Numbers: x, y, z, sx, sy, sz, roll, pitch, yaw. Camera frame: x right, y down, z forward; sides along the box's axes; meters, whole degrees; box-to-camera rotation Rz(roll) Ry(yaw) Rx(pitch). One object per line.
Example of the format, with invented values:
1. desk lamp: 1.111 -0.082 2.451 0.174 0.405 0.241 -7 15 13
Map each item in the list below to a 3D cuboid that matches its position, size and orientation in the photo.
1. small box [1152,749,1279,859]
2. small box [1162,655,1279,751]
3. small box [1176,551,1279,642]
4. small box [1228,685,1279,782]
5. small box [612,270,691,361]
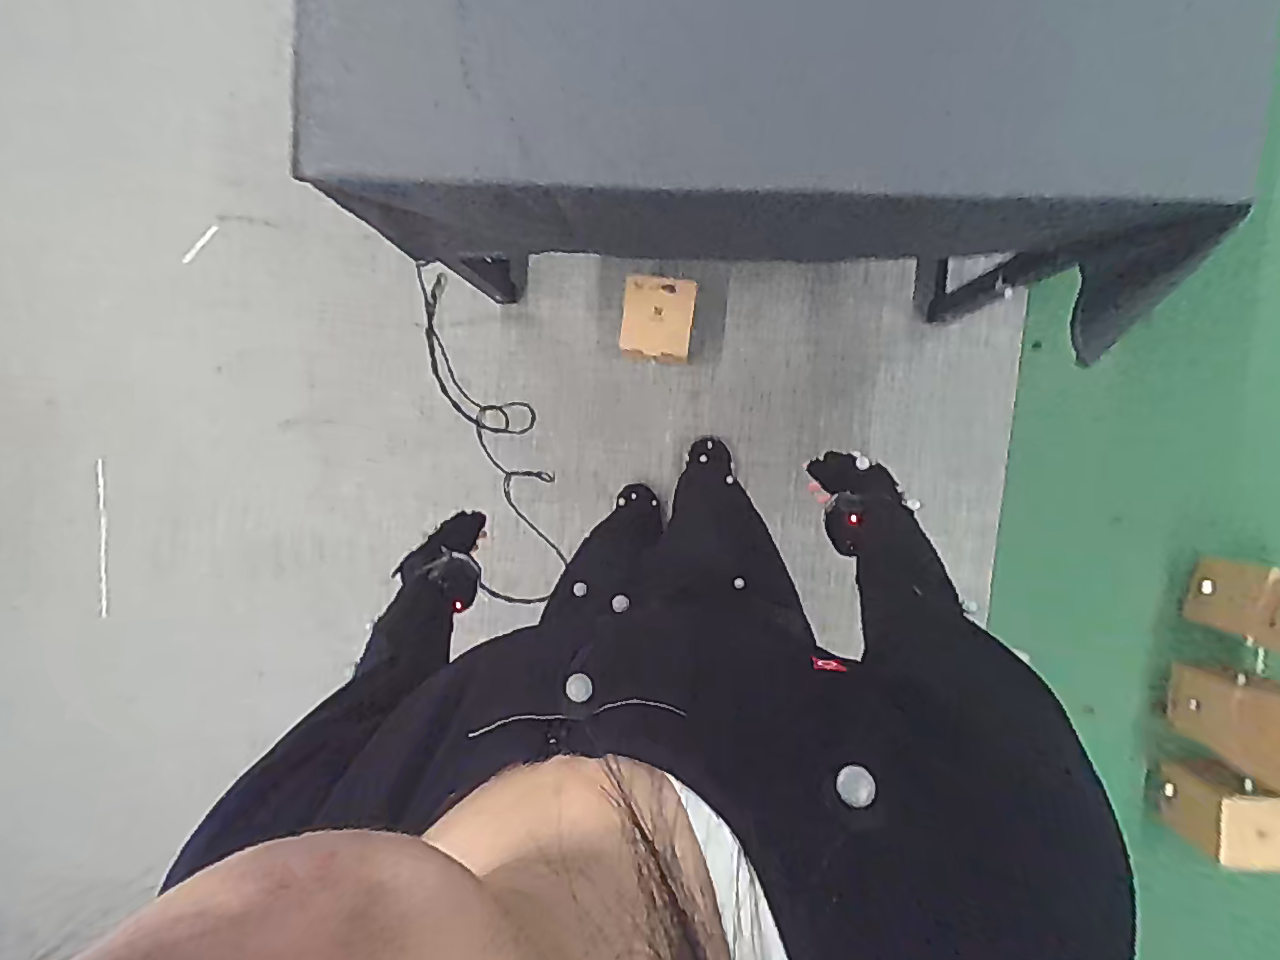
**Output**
1. small box: 1.410 0.777 1.311 0.179 0.176 0.168 -1 94 4
2. small box: 1.412 0.531 1.292 0.179 0.176 0.168 2 94 4
3. small box: 1.446 0.275 1.272 0.179 0.176 0.168 15 94 4
4. small box: 1.405 0.550 1.131 0.168 0.176 0.179 4 95 4
5. small box: 0.034 -0.393 1.325 0.168 0.176 0.179 8 95 4
